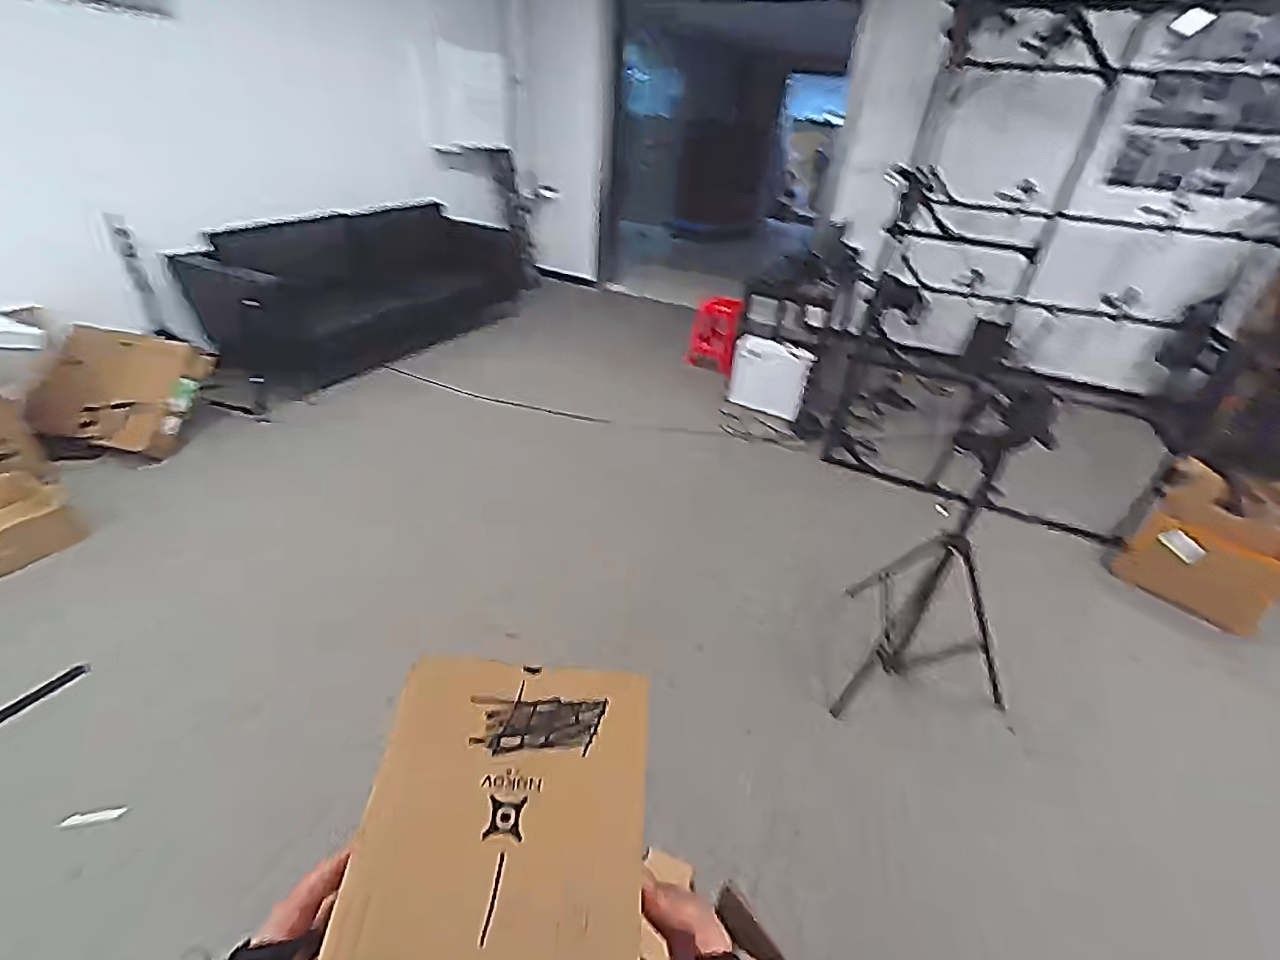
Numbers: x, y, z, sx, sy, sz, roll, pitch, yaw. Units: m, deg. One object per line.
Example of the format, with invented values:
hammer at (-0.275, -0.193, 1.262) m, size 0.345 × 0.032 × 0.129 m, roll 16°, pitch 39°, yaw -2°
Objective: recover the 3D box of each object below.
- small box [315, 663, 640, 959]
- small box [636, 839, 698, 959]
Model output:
small box at (-0.094, 0.254, 0.384) m, size 0.168 × 0.176 × 0.179 m, roll 6°, pitch 46°, yaw -6°
small box at (-0.026, 0.647, 0.779) m, size 0.168 × 0.176 × 0.179 m, roll 15°, pitch 37°, yaw 18°
